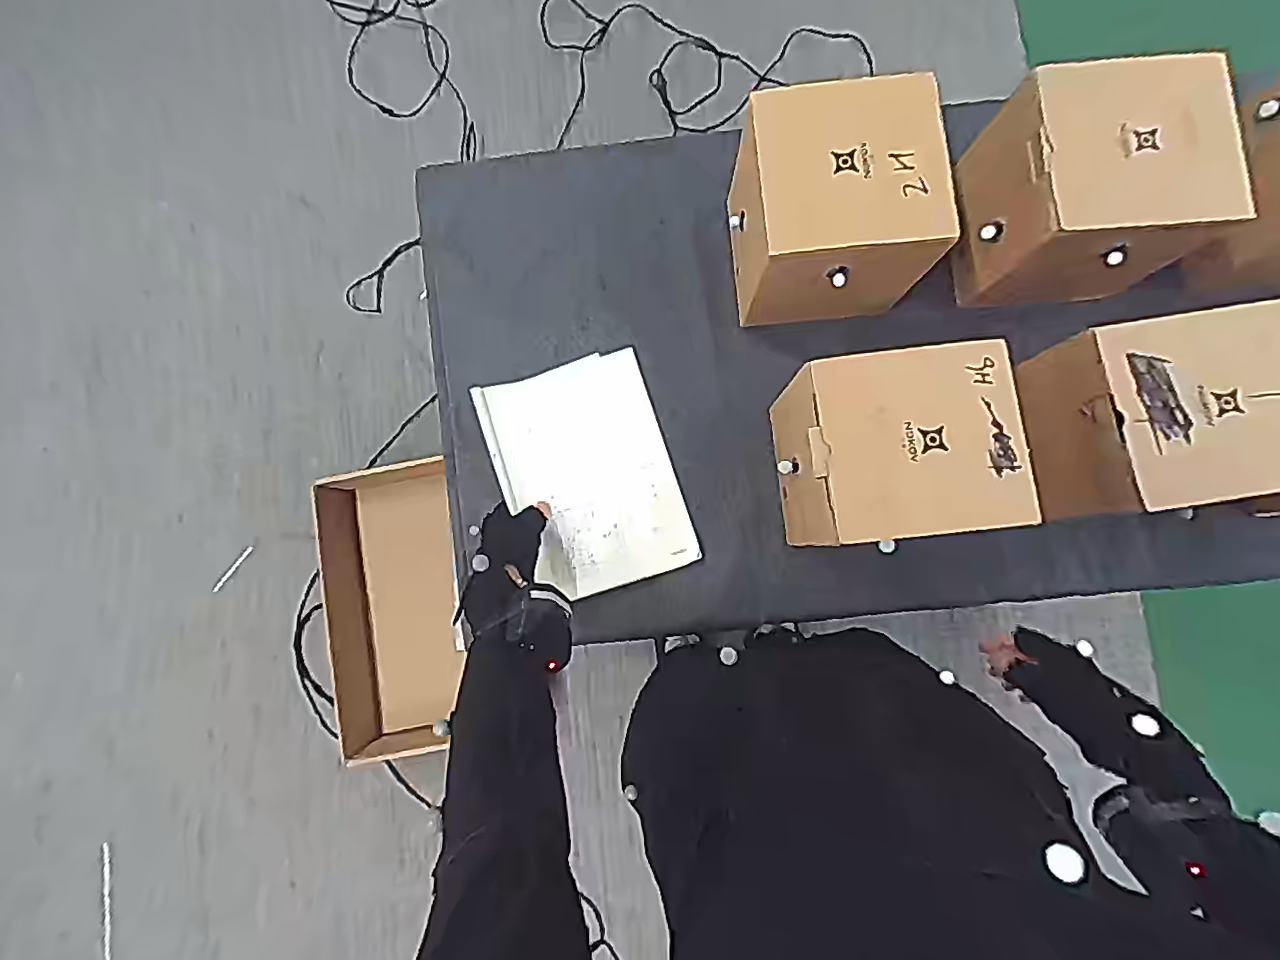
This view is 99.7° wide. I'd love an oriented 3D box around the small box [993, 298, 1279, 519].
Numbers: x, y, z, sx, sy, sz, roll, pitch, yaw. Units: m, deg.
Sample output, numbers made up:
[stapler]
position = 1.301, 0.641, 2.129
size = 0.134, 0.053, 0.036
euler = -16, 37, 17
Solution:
[small box]
position = 0.489, -0.056, 0.538
size = 0.179, 0.176, 0.168
euler = -8, 82, 0
